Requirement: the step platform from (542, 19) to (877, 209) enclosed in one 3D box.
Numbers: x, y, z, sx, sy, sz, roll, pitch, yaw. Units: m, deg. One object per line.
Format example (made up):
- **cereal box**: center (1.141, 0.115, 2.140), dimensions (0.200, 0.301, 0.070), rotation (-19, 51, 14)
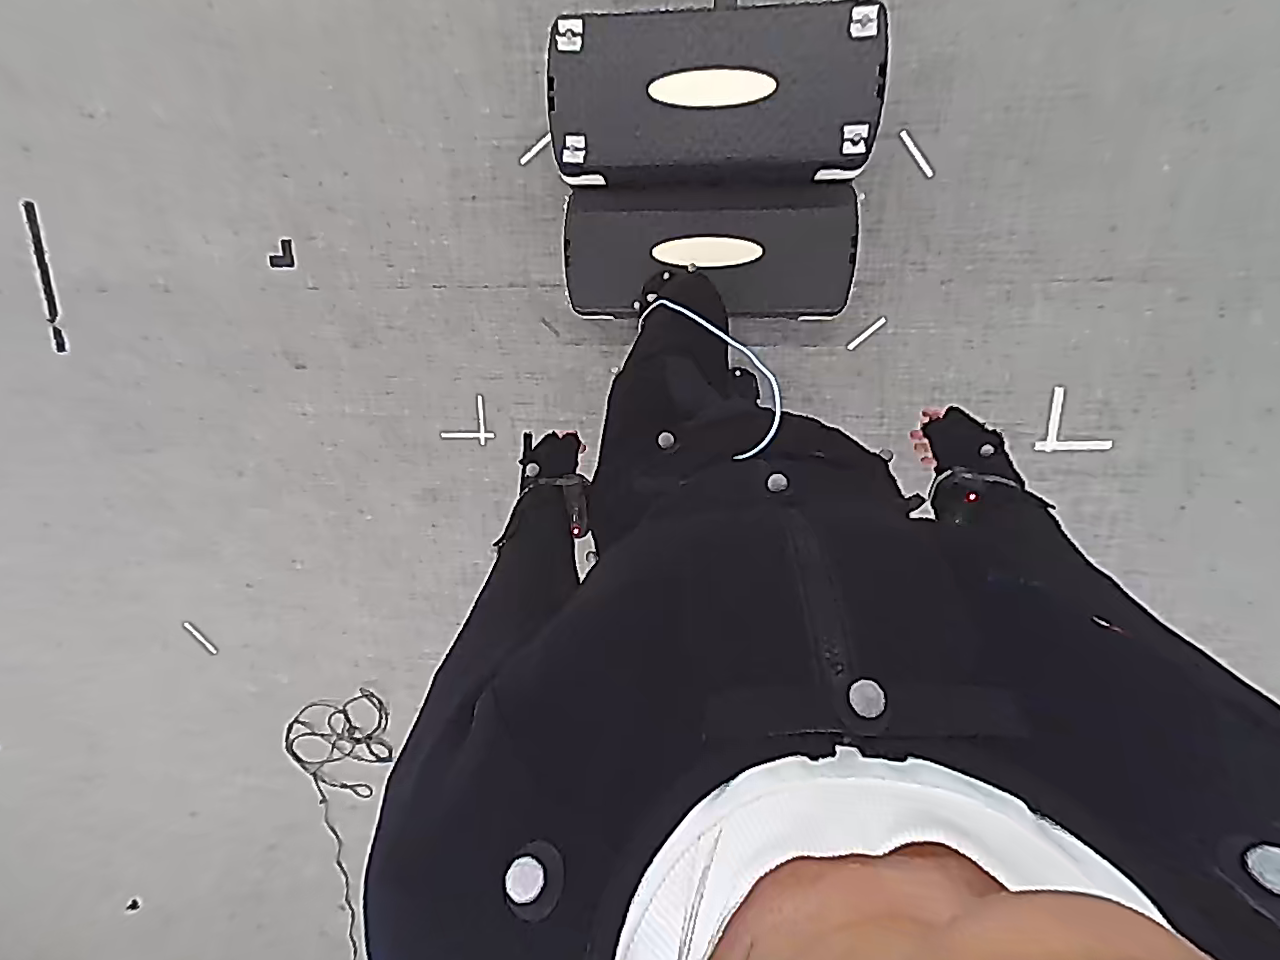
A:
- **step platform**: center (0.136, -0.767, 1.161), dimensions (0.684, 0.204, 0.286), rotation (1, 106, 5)
